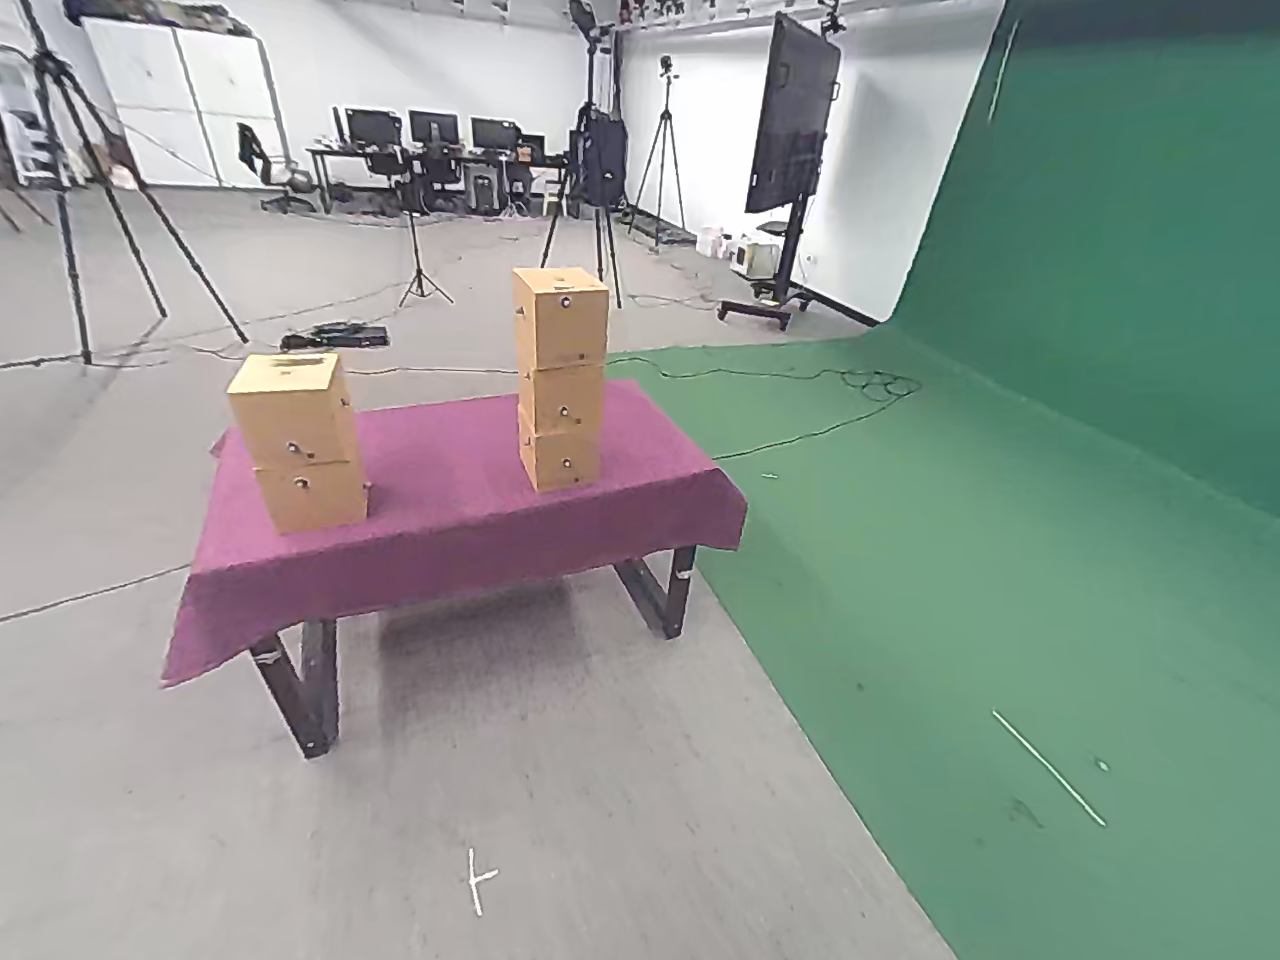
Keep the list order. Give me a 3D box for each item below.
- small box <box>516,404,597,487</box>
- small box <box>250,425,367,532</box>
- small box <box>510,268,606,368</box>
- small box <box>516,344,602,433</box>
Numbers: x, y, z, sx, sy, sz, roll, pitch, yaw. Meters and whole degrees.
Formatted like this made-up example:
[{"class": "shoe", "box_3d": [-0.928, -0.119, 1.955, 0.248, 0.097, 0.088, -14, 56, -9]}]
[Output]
[{"class": "small box", "box_3d": [-0.216, -0.094, 1.390, 0.168, 0.176, 0.179, -10, 37, -22]}, {"class": "small box", "box_3d": [-0.717, -0.003, 1.189, 0.179, 0.176, 0.168, -8, 37, -20]}, {"class": "small box", "box_3d": [-0.186, -0.365, 1.208, 0.168, 0.176, 0.179, -13, 39, -24]}, {"class": "small box", "box_3d": [-0.201, -0.232, 1.304, 0.168, 0.176, 0.179, -10, 39, -22]}]
